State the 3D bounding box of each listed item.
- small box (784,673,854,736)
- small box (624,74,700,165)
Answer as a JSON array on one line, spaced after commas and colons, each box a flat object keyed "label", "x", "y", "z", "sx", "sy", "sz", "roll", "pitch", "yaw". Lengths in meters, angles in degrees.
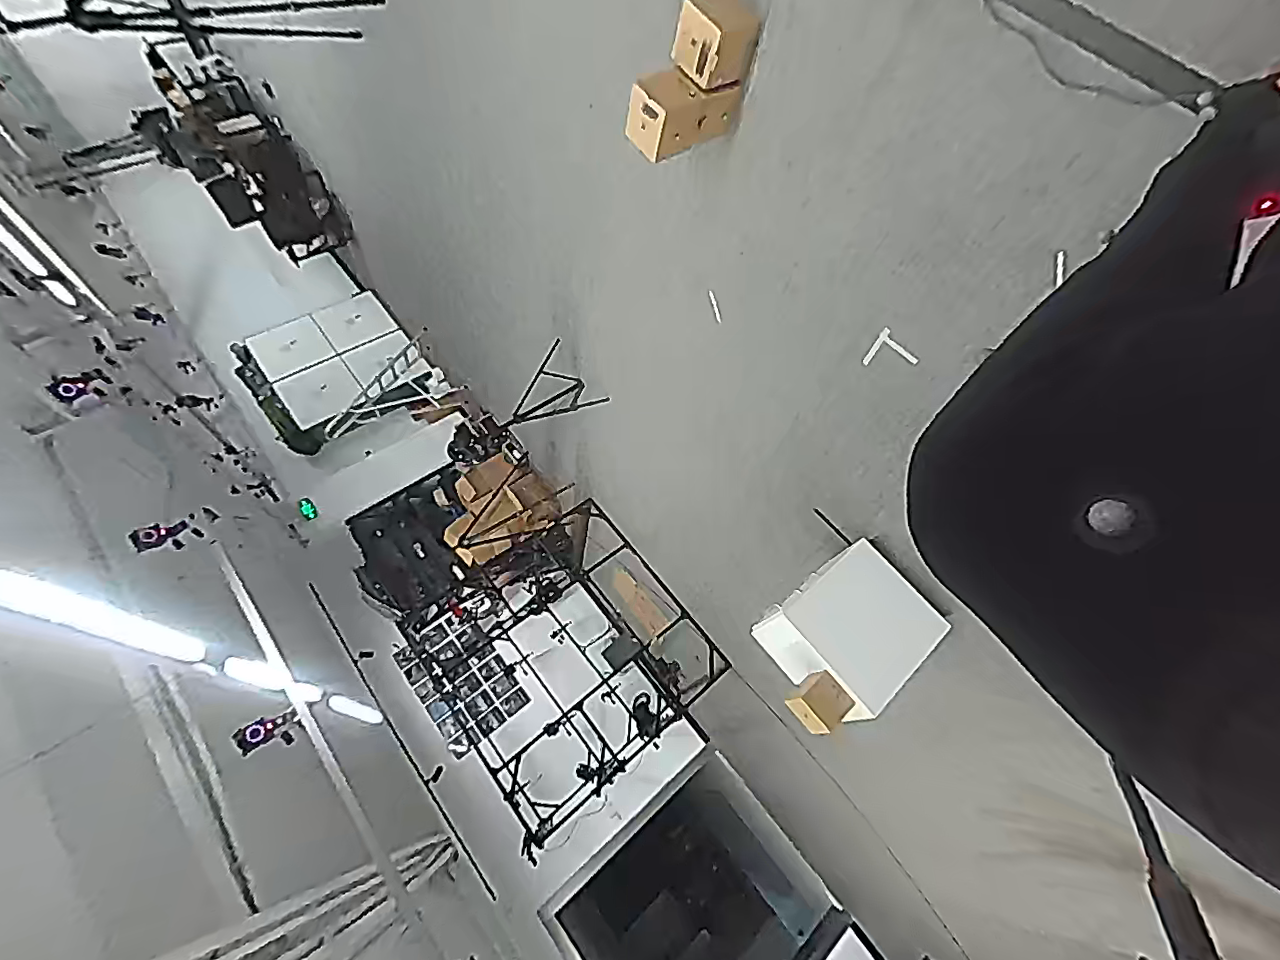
[{"label": "small box", "x": 0.719, "y": 0.900, "z": 2.167, "sx": 0.168, "sy": 0.176, "sz": 0.179, "roll": 49, "pitch": 156, "yaw": 14}, {"label": "small box", "x": 0.073, "y": -1.185, "z": 1.772, "sx": 0.168, "sy": 0.176, "sz": 0.179, "roll": 51, "pitch": 157, "yaw": 12}]
